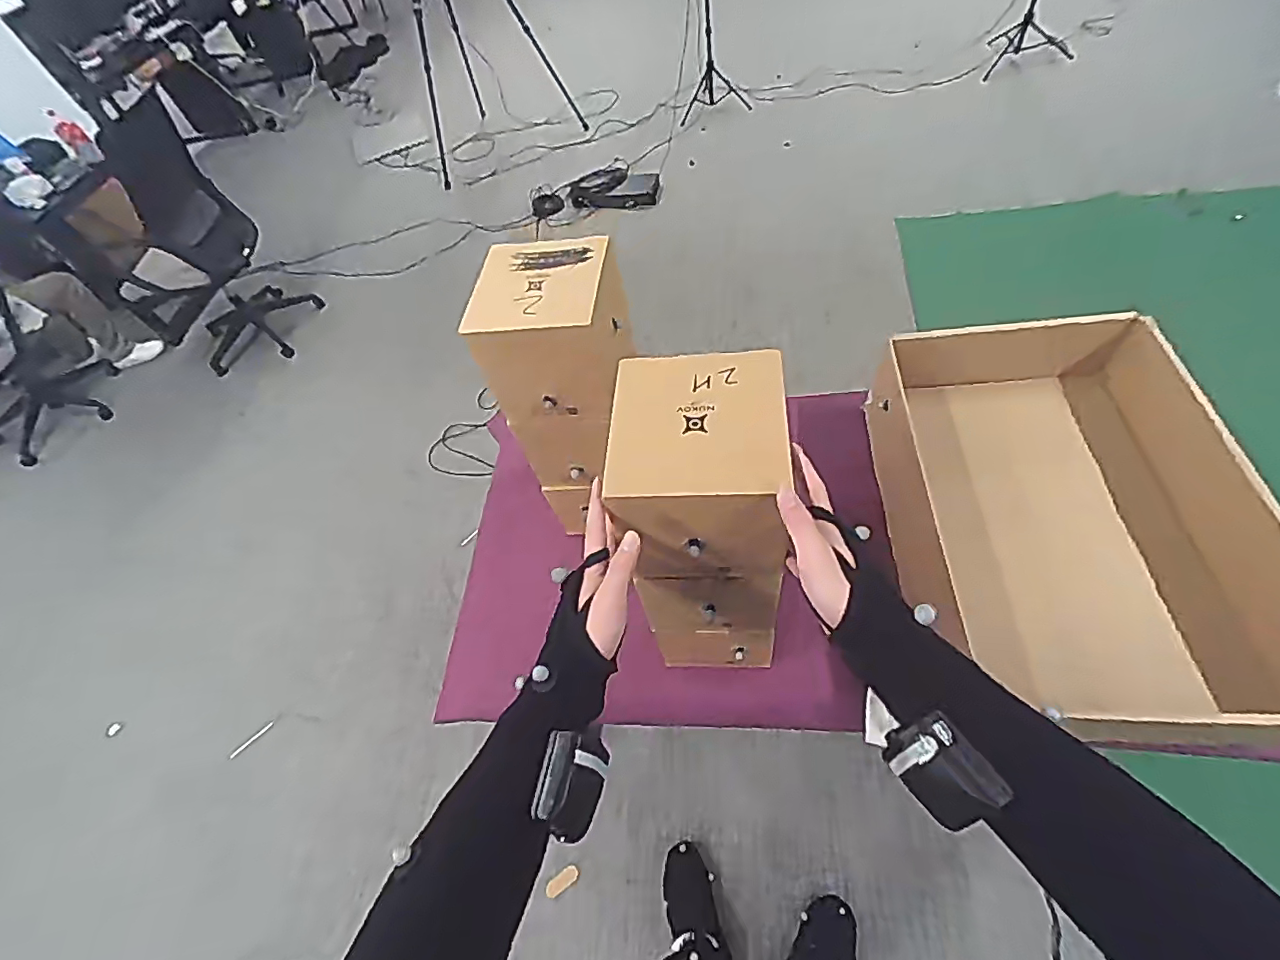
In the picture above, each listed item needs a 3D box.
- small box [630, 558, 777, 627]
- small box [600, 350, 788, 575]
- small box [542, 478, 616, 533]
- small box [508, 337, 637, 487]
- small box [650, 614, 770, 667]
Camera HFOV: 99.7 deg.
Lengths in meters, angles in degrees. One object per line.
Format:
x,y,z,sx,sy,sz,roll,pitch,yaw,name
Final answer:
0.087,0.083,0.704,0.168,0.176,0.179,-2,56,9,small box
0.064,-0.011,0.569,0.168,0.176,0.179,-1,54,10,small box
-0.068,-0.011,1.001,0.168,0.176,0.179,-4,55,9,small box
-0.088,-0.105,0.868,0.168,0.176,0.179,0,56,12,small box
0.113,0.179,0.834,0.168,0.176,0.179,-2,54,9,small box
